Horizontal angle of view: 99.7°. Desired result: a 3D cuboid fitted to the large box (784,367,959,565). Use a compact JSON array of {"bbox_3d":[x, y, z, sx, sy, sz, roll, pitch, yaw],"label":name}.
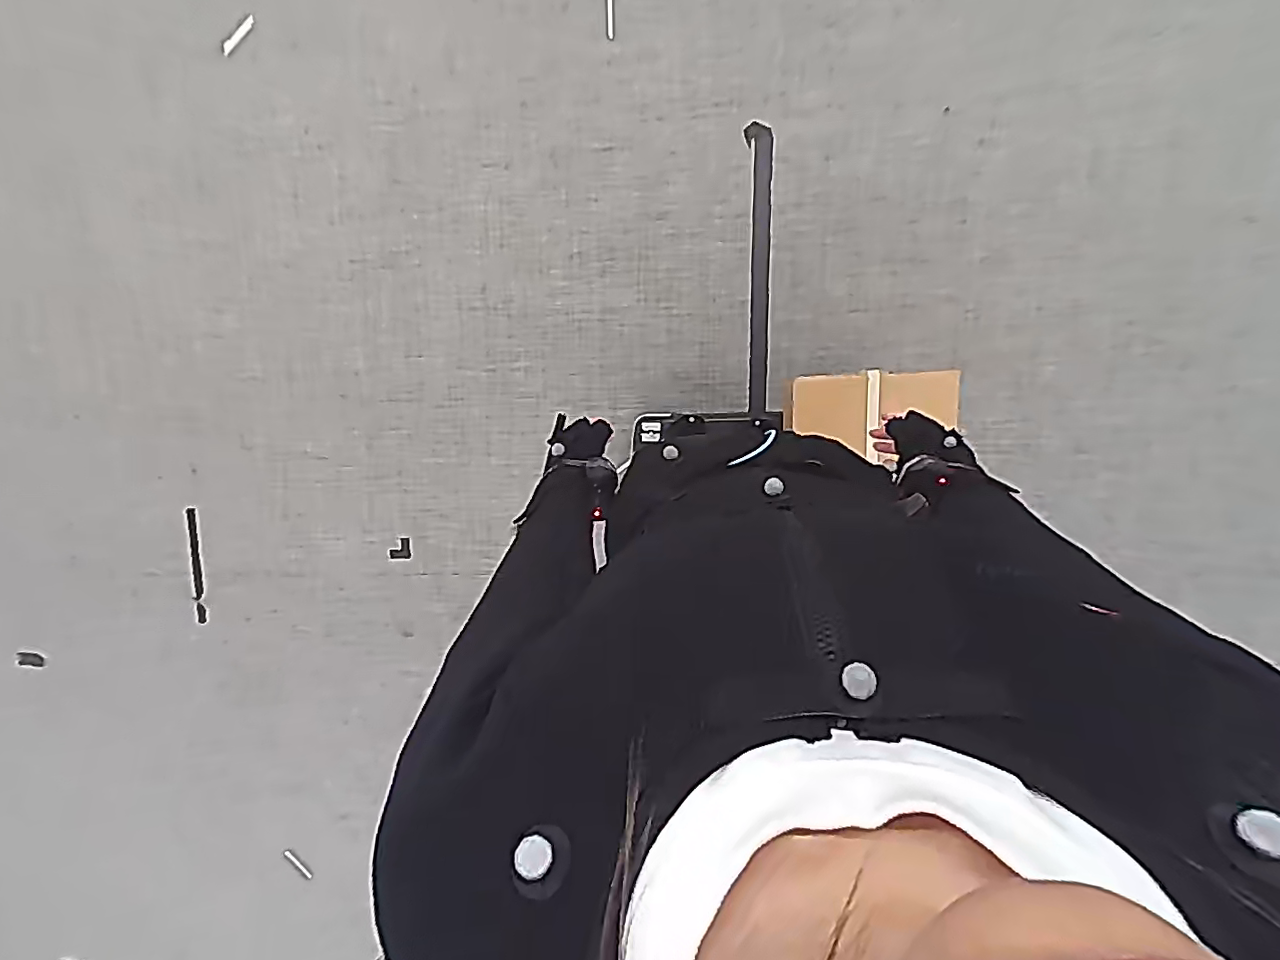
[{"bbox_3d":[0.505,-0.045,1.250,0.320,0.320,0.408,0,100,12],"label":"large box"}]
